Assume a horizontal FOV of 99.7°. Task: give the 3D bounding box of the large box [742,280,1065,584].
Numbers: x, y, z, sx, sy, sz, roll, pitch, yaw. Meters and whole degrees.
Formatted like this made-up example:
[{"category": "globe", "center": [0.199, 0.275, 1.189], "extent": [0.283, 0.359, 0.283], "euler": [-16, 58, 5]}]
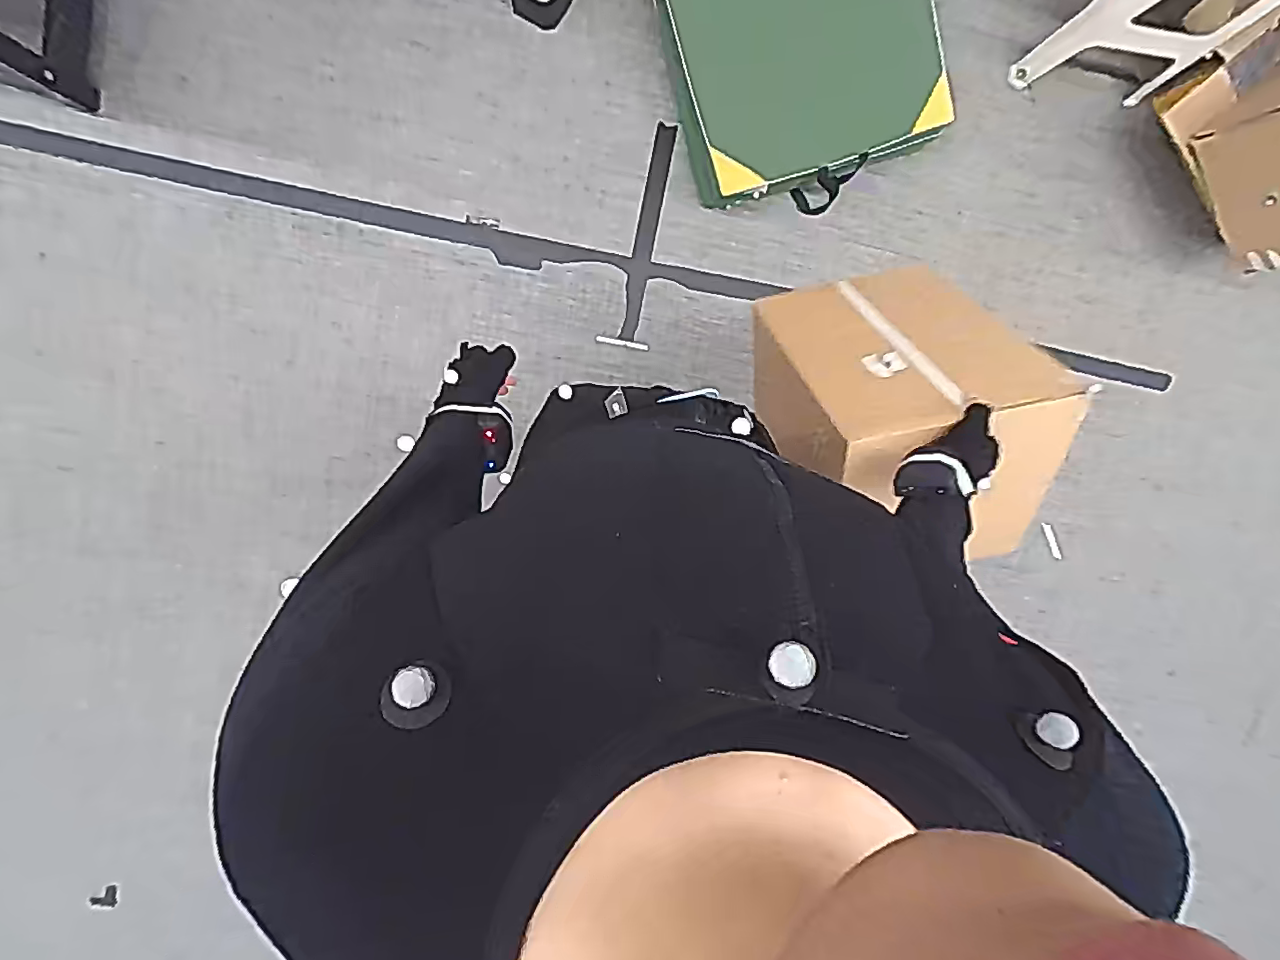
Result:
[{"category": "large box", "center": [0.383, -0.094, 0.932], "extent": [0.320, 0.408, 0.320], "euler": [-12, 133, -1]}]
